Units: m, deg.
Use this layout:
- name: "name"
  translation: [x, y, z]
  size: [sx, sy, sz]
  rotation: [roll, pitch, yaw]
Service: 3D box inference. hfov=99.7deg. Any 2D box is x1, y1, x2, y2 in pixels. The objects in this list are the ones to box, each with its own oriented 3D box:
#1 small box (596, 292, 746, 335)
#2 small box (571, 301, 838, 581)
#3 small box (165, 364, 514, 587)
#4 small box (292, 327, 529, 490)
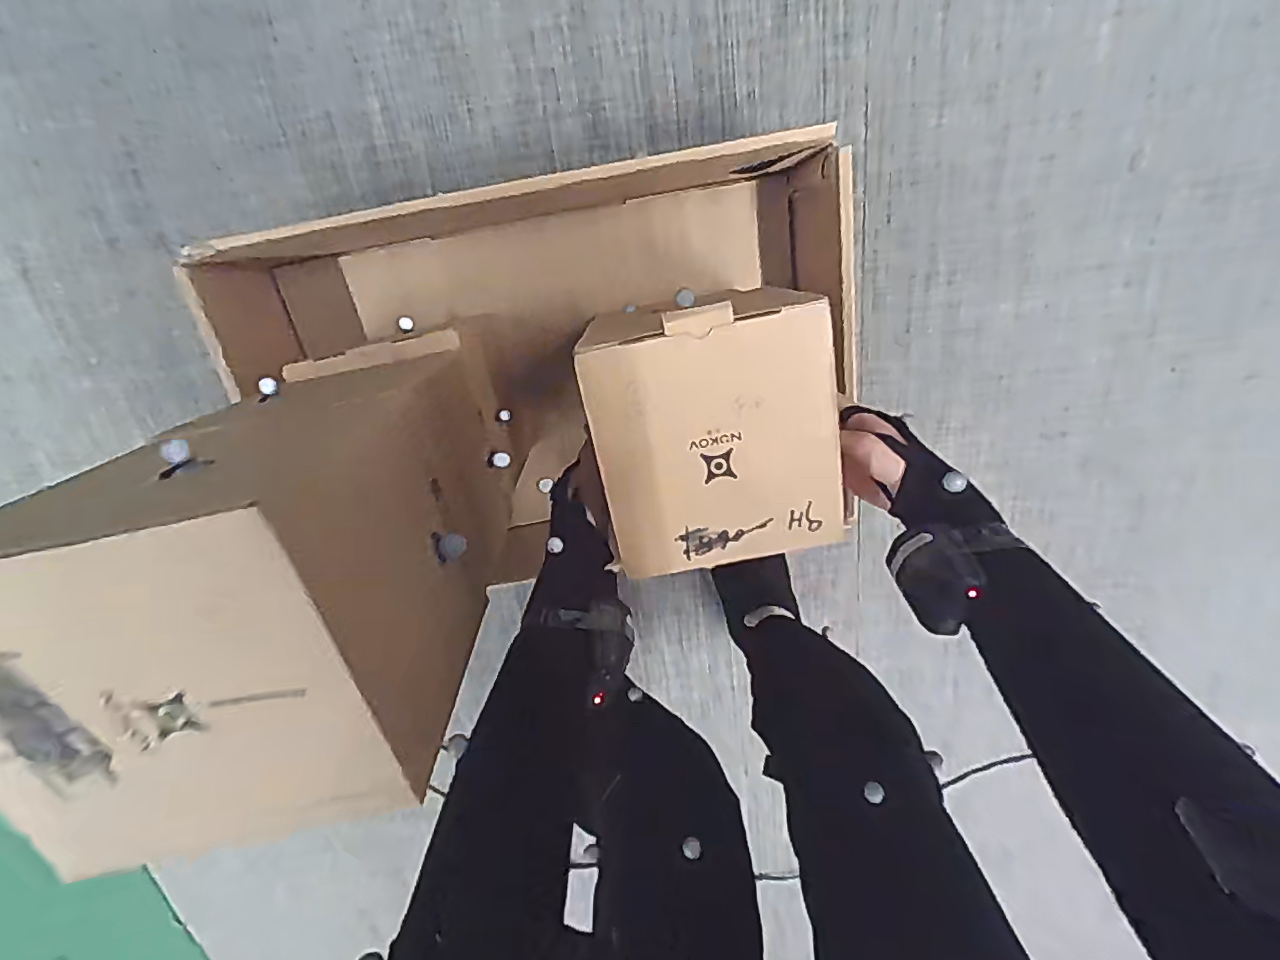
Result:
- name: "small box"
  translation: [0.048, -0.106, 0.604]
  size: [0.179, 0.176, 0.168]
  rotation: [-12, 112, 4]
- name: "small box"
  translation: [0.049, -0.046, 0.450]
  size: [0.168, 0.176, 0.179]
  rotation: [-12, 111, 5]
- name: "small box"
  translation: [-0.223, 0.010, 0.461]
  size: [0.179, 0.176, 0.168]
  rotation: [-13, 113, 1]
- name: "small box"
  translation: [-0.233, -0.061, 0.607]
  size: [0.168, 0.176, 0.179]
  rotation: [-13, 111, 1]
